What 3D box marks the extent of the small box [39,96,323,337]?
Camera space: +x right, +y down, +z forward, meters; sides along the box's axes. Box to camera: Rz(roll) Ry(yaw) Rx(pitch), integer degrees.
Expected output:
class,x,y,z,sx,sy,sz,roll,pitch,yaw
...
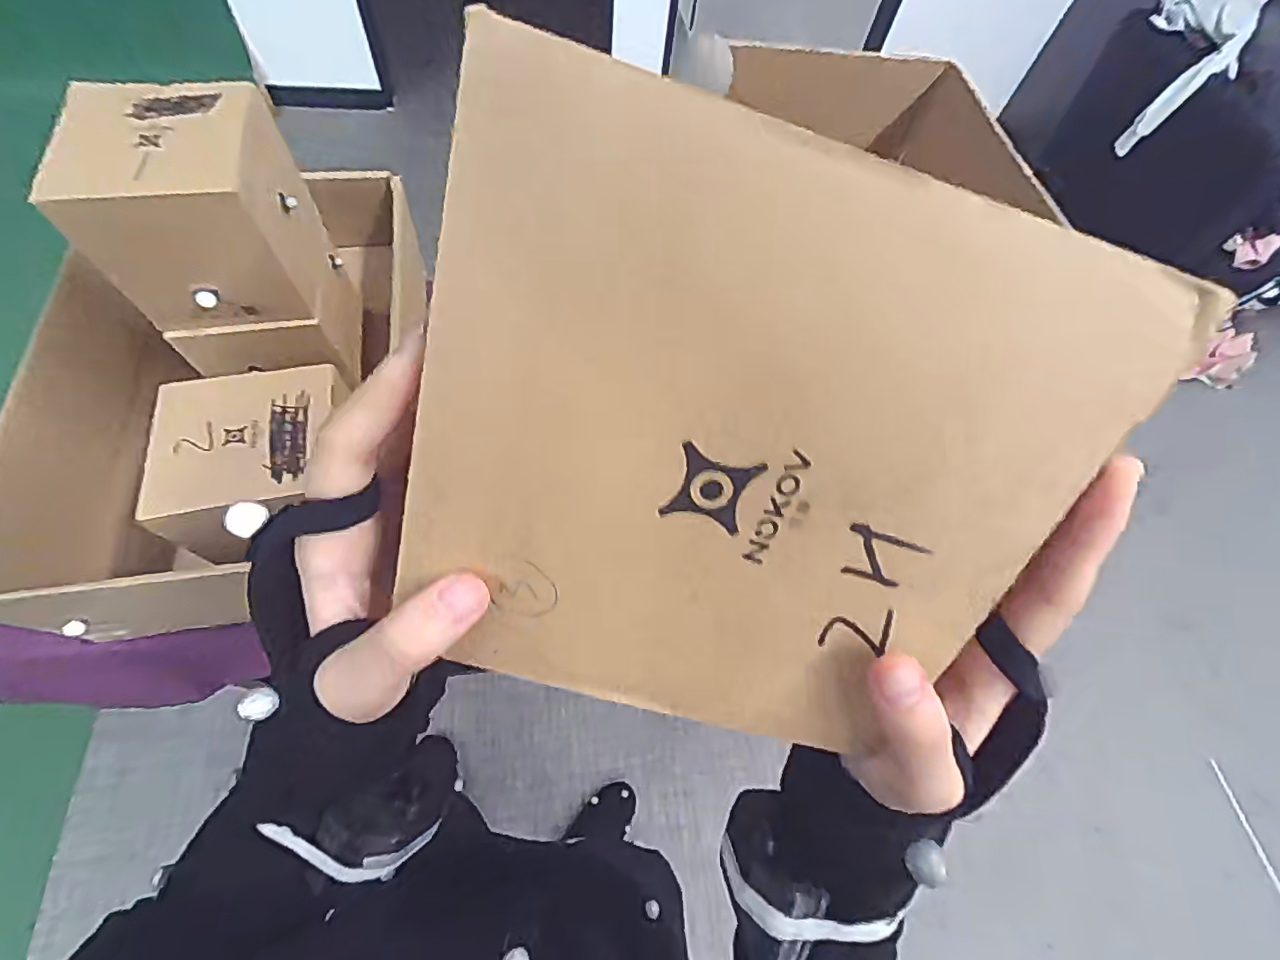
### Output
class,x,y,z,sx,sy,sz,roll,pitch,yaw
small box,-0.472,-0.284,0.594,0.168,0.176,0.179,-8,65,-9

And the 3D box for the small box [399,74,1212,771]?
class,x,y,z,sx,sy,sz,roll,pitch,yaw
small box,0.030,-0.024,0.222,0.179,0.168,0.176,17,27,-7

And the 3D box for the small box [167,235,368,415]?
class,x,y,z,sx,sy,sz,roll,pitch,yaw
small box,-0.486,-0.203,0.737,0.168,0.176,0.179,-9,64,-10
